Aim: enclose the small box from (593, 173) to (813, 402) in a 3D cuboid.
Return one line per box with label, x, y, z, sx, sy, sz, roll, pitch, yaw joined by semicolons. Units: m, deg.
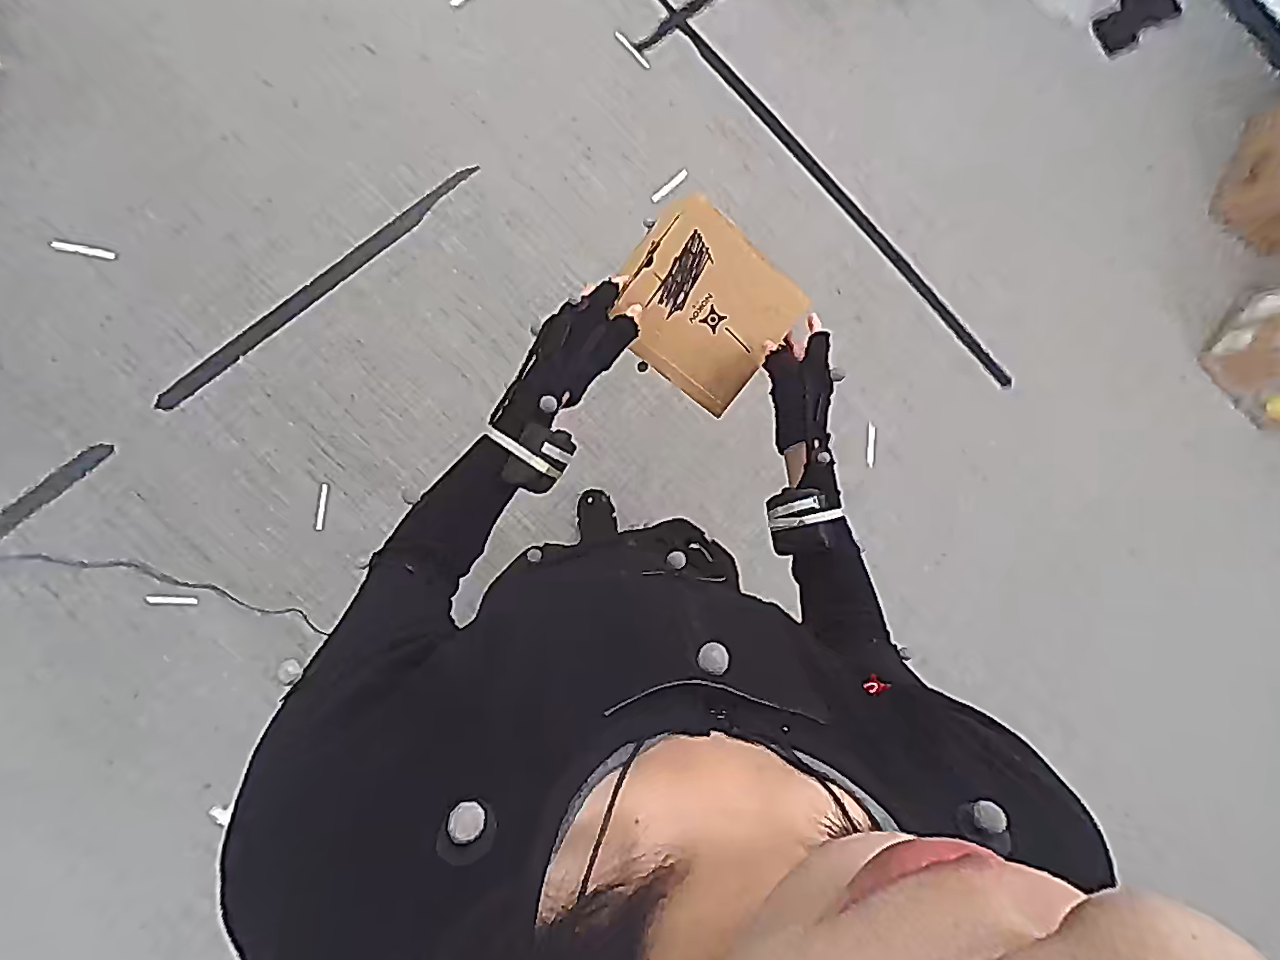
small box;0.059;-0.219;0.641;0.179;0.176;0.168;33;102;-19
